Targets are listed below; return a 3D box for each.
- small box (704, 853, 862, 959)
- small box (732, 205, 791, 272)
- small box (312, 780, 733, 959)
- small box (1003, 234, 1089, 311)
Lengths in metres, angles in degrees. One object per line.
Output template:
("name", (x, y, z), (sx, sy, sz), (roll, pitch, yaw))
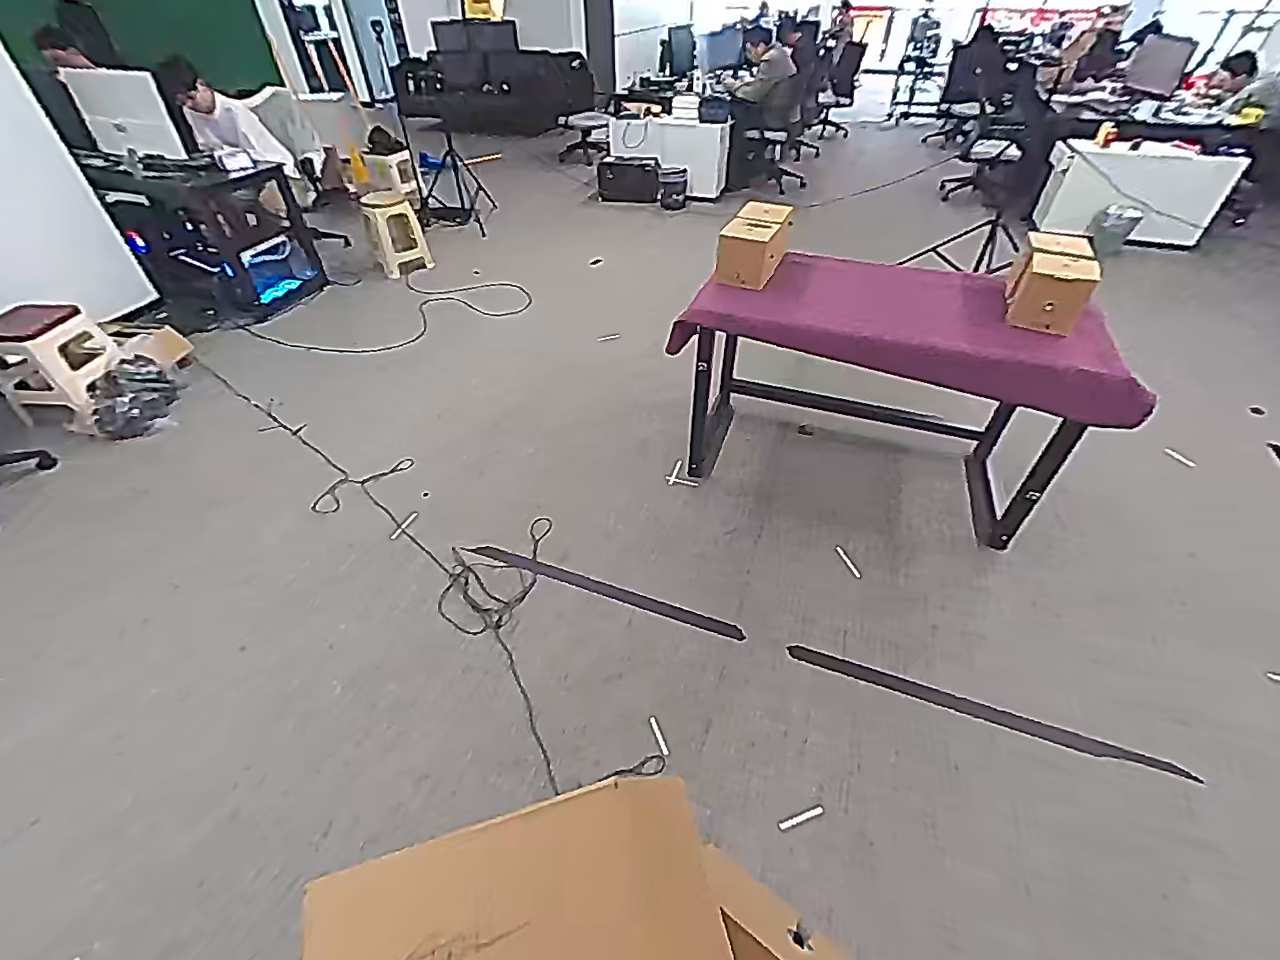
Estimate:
("small box", (0.071, 0.397, 0.378), (0.179, 0.176, 0.168), (25, 72, 29))
("small box", (0.443, -0.890, 1.988), (0.168, 0.176, 0.179), (17, 46, 18))
("small box", (-0.040, 0.277, 0.285), (0.168, 0.176, 0.179), (-22, 58, 4))
("small box", (1.302, -0.672, 1.749), (0.168, 0.176, 0.179), (17, 45, 17))
